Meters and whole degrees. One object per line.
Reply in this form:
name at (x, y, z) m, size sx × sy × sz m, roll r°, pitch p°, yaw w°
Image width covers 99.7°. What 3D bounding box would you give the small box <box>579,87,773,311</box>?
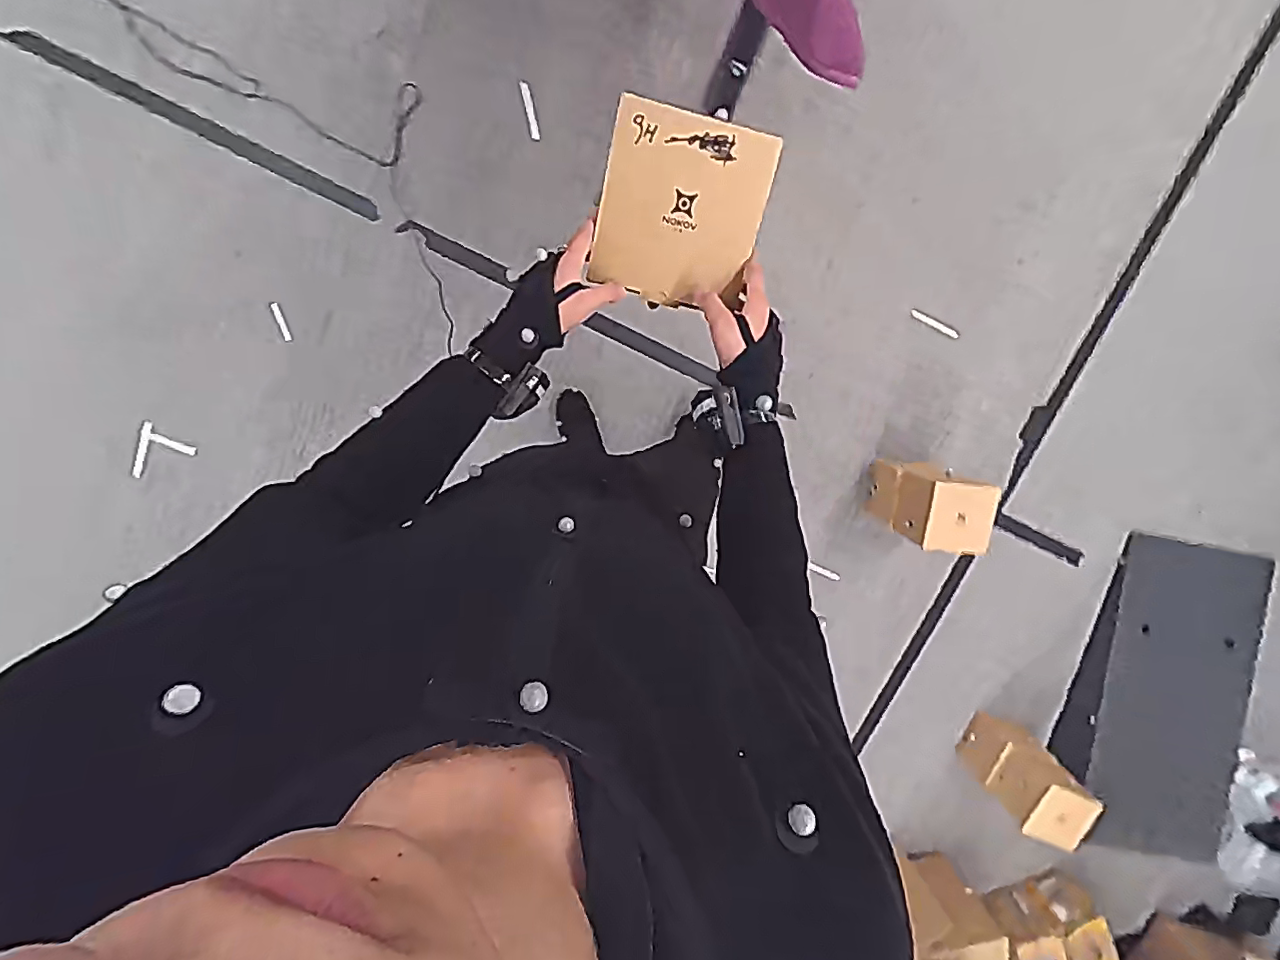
small box at (0.033, -0.311, 0.627) m, size 0.168 × 0.176 × 0.179 m, roll 12°, pitch 112°, yaw -6°
